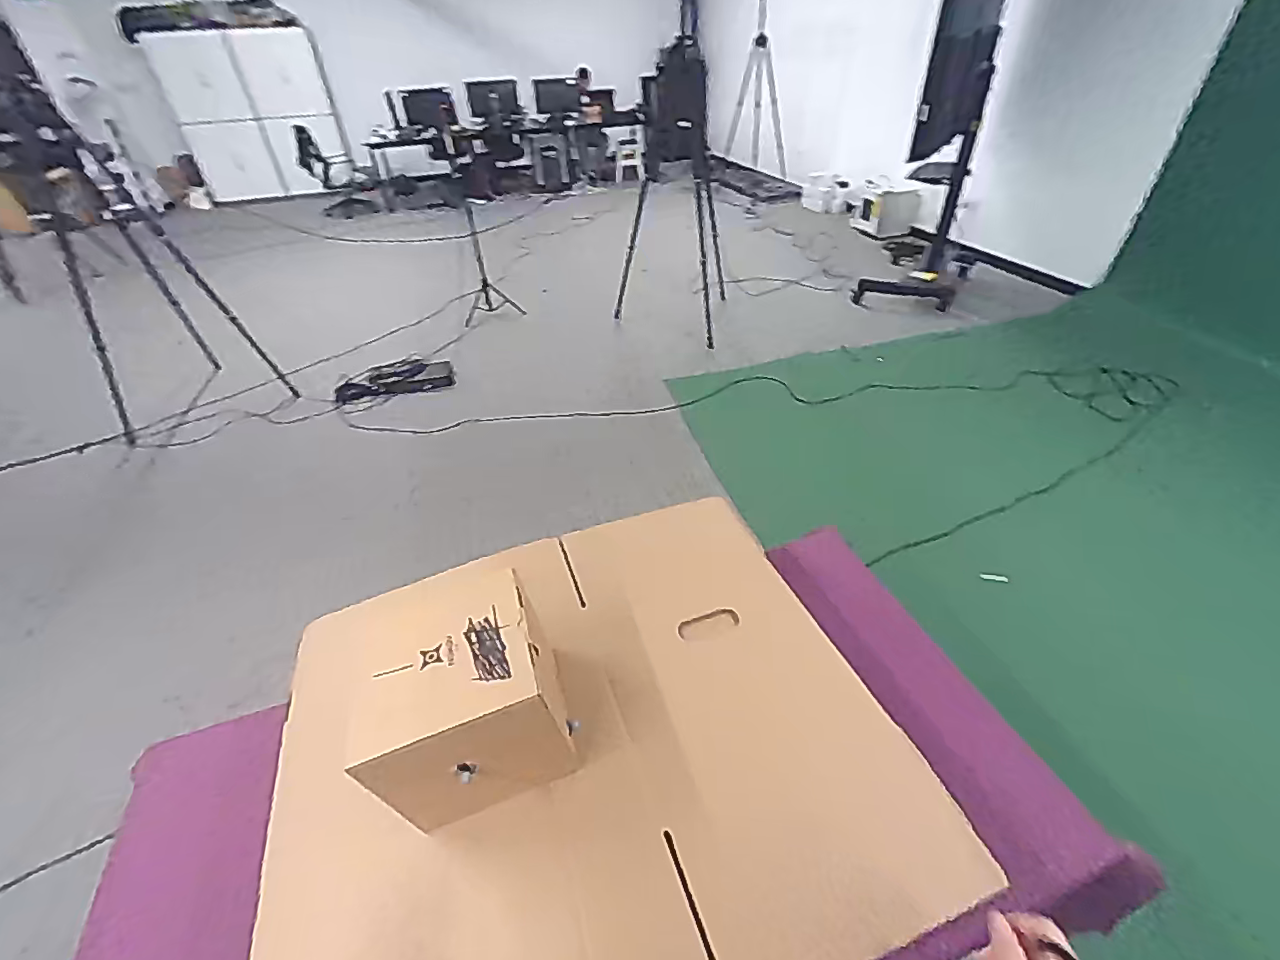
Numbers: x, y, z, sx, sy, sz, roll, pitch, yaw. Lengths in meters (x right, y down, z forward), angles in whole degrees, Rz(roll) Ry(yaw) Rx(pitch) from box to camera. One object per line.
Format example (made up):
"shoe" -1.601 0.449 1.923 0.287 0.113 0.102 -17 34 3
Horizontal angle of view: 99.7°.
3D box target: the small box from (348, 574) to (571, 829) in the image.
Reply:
"small box" -0.184 0.240 0.589 0.179 0.176 0.168 -20 41 -8
